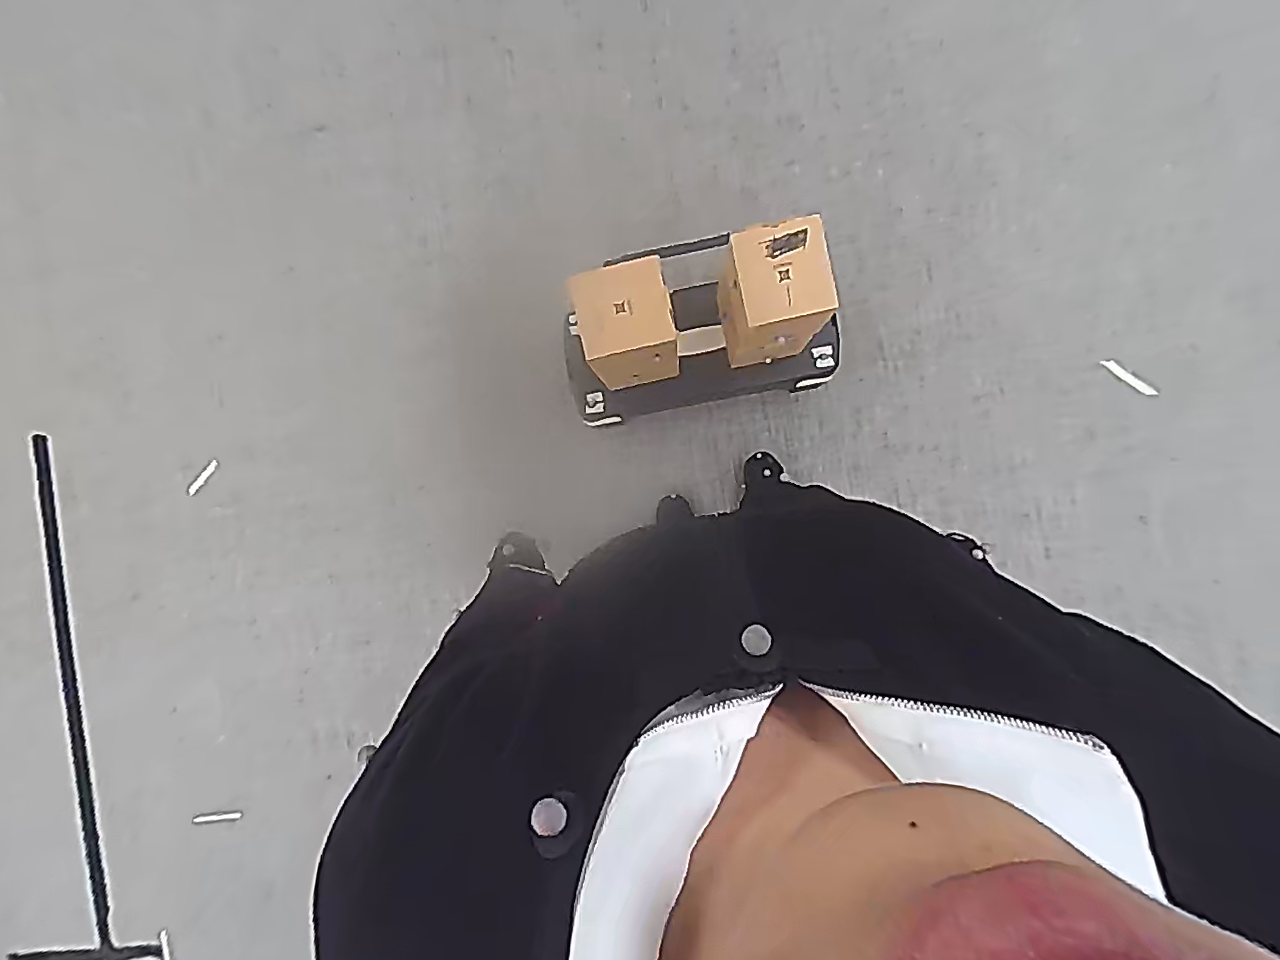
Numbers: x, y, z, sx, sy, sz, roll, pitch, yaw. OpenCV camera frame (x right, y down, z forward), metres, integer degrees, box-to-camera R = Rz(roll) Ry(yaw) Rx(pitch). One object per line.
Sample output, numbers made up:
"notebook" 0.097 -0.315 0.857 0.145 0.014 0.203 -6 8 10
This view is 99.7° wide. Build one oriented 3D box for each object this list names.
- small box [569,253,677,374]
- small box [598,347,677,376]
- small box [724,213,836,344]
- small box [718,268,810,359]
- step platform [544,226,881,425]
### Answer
"small box" -0.028 -0.324 1.085 0.179 0.176 0.168 -13 88 5
"small box" -0.014 -0.326 1.248 0.179 0.176 0.168 -12 89 5
"small box" 0.264 -0.384 1.058 0.168 0.176 0.179 -11 90 5
"small box" 0.271 -0.379 1.223 0.168 0.176 0.179 -11 89 6
"step platform" 0.145 -0.319 1.198 0.684 0.204 0.286 -10 89 4
